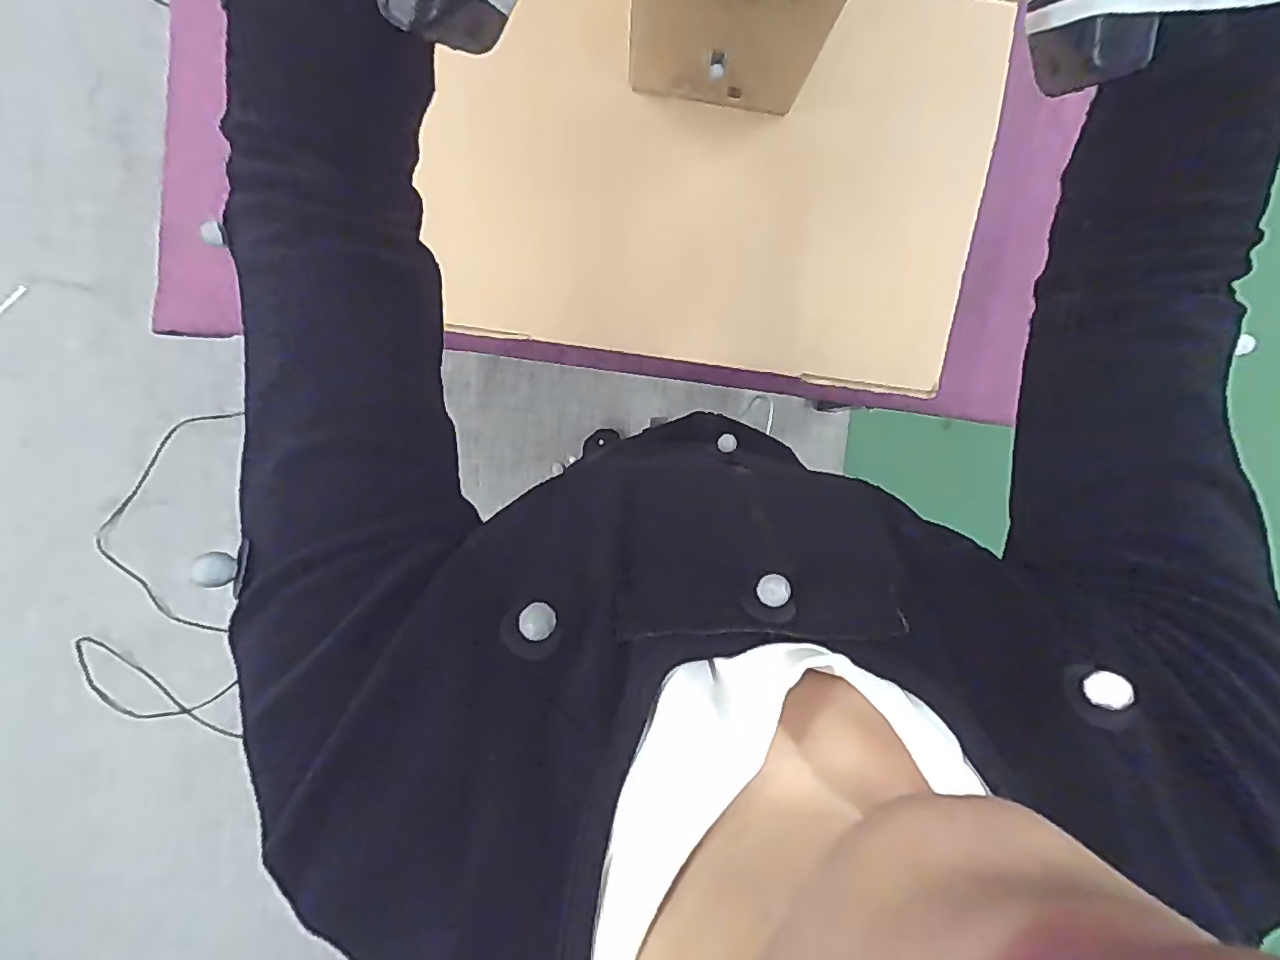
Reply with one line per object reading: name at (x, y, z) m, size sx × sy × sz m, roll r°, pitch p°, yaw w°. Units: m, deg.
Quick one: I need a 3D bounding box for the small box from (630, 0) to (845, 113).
small box at (0.084, -0.461, 0.457) m, size 0.168 × 0.176 × 0.179 m, roll 8°, pitch 93°, yaw -3°
